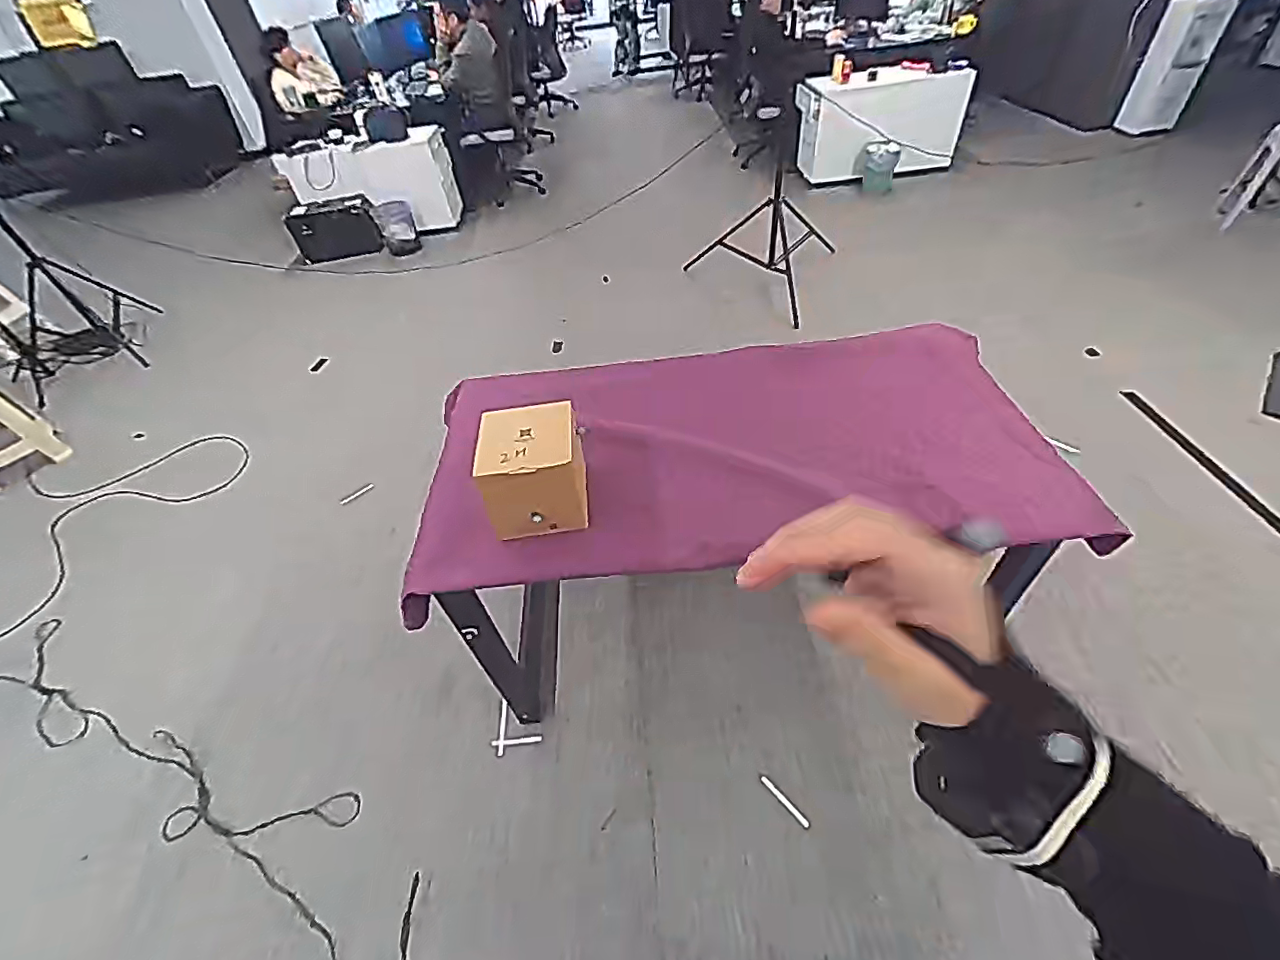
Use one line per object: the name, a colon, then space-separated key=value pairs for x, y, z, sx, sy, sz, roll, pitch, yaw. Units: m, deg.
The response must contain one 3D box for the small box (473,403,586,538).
small box: x=-0.195 y=-0.017 z=1.001 sx=0.168 sy=0.176 sz=0.179 roll=-8 pitch=45 yaw=0
